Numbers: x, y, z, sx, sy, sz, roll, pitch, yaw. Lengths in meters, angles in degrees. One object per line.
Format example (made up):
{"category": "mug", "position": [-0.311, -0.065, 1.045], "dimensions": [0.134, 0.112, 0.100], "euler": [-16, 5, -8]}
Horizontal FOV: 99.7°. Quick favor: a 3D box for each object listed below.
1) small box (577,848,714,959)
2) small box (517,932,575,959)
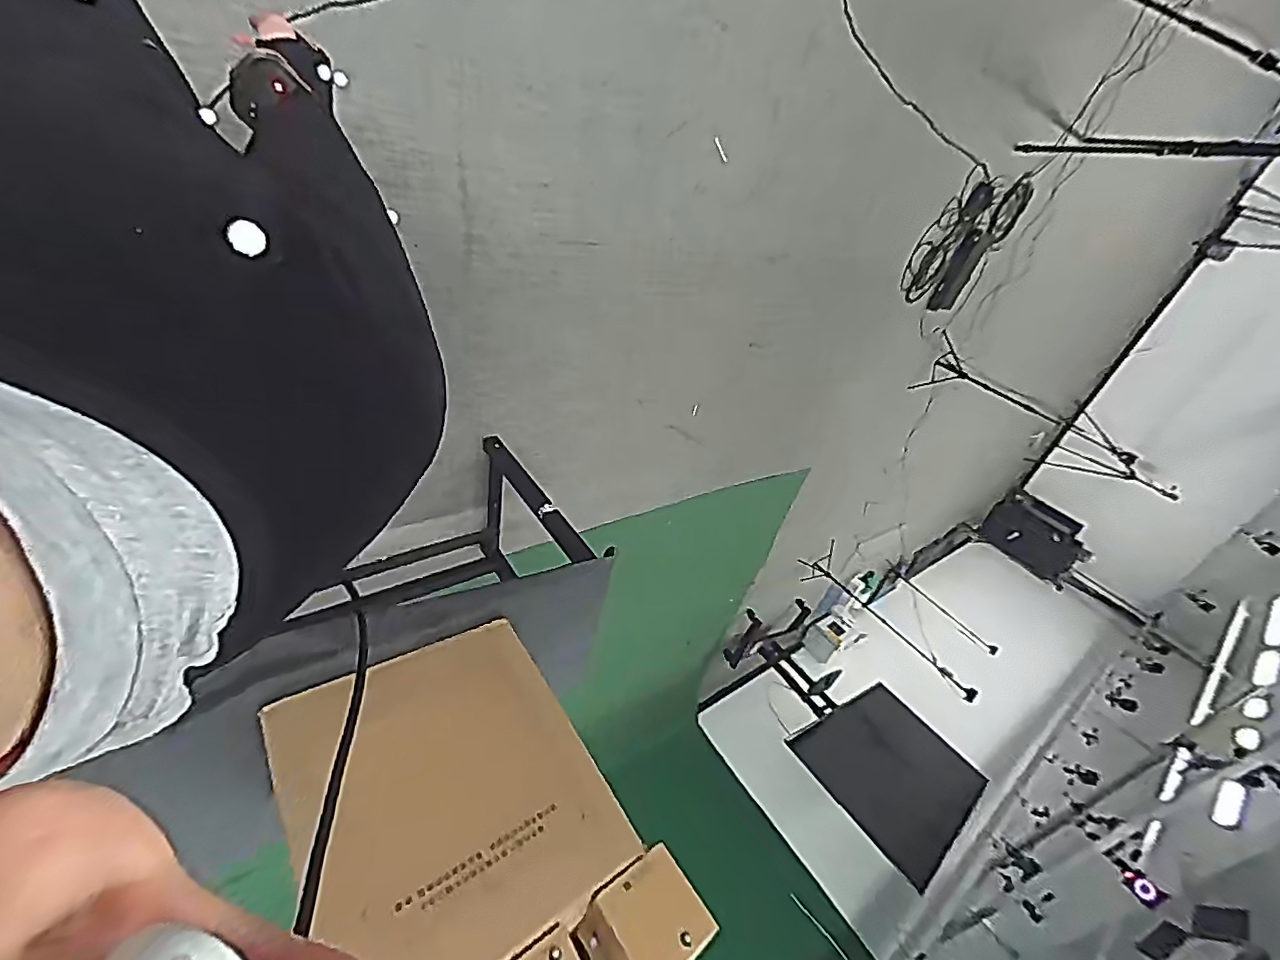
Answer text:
{"category": "small box", "position": [0.002, 0.837, 1.007], "dimensions": [0.168, 0.176, 0.179], "euler": [-15, 135, -40]}
{"category": "small box", "position": [-0.171, 0.887, 0.873], "dimensions": [0.168, 0.176, 0.179], "euler": [-14, 135, -37]}
